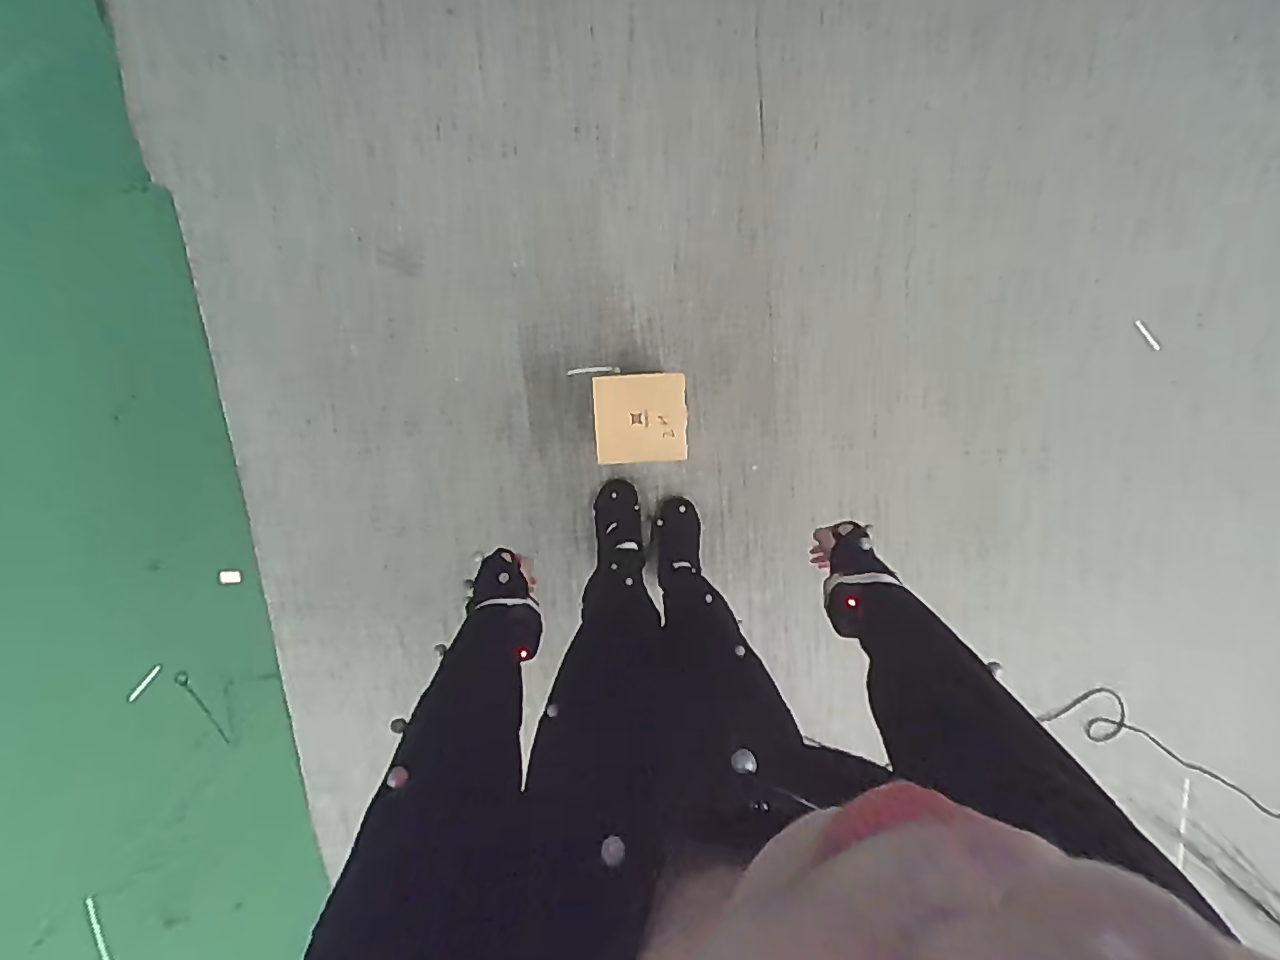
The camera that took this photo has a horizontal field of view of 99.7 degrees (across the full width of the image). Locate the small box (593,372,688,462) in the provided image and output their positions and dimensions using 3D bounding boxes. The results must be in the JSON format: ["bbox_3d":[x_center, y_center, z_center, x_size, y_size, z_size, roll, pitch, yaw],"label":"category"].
[{"bbox_3d":[0.001,-0.130,1.094,0.179,0.176,0.168,-3,101,-2],"label":"small box"}]
